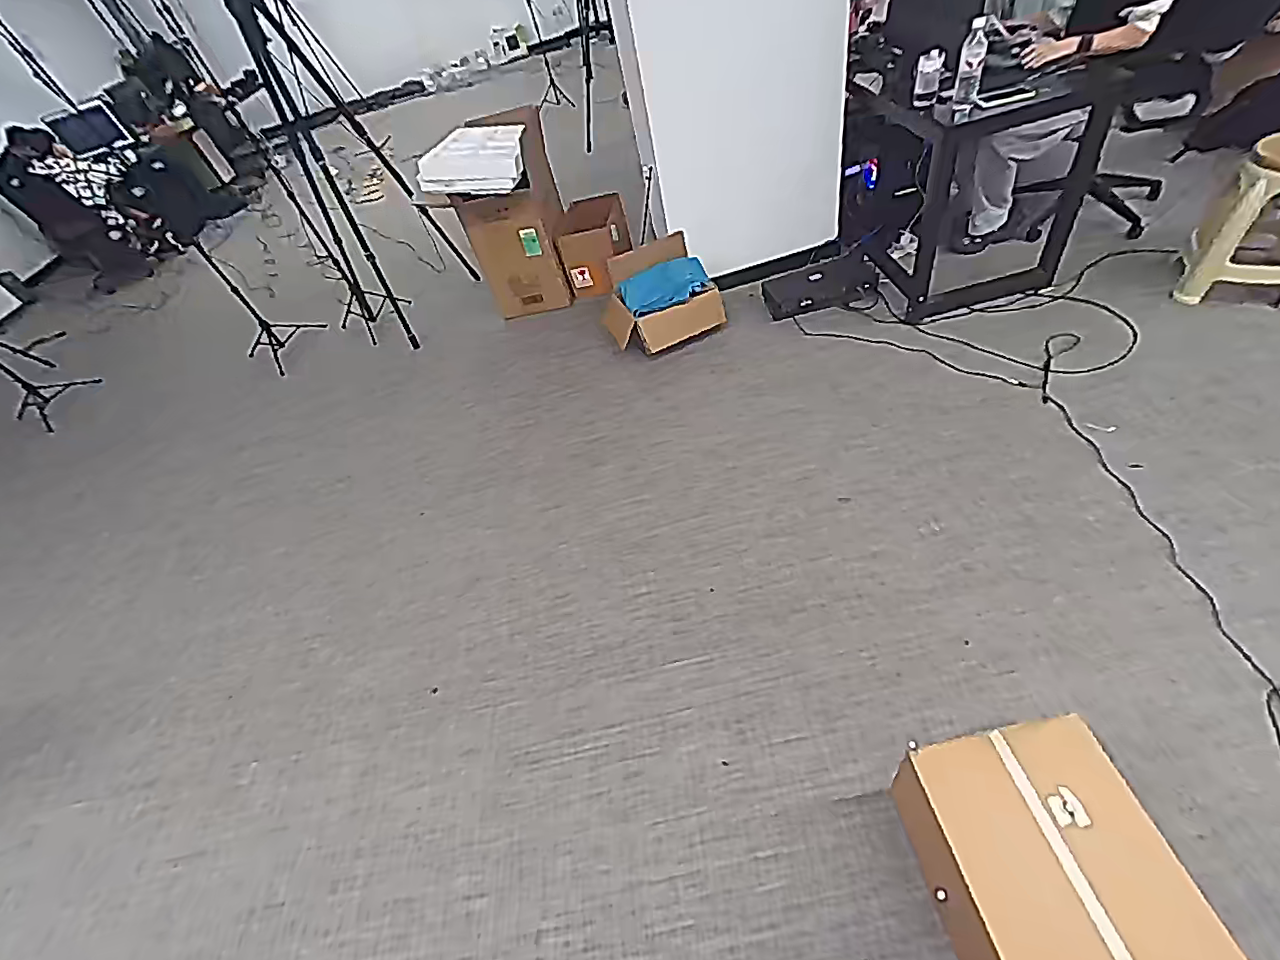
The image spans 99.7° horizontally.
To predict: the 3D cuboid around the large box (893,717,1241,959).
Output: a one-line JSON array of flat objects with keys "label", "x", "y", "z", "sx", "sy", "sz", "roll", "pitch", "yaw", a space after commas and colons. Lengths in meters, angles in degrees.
[{"label": "large box", "x": 0.710, "y": 0.713, "z": 0.975, "sx": 0.320, "sy": 0.320, "sz": 0.408, "roll": -14, "pitch": 46, "yaw": 3}]
